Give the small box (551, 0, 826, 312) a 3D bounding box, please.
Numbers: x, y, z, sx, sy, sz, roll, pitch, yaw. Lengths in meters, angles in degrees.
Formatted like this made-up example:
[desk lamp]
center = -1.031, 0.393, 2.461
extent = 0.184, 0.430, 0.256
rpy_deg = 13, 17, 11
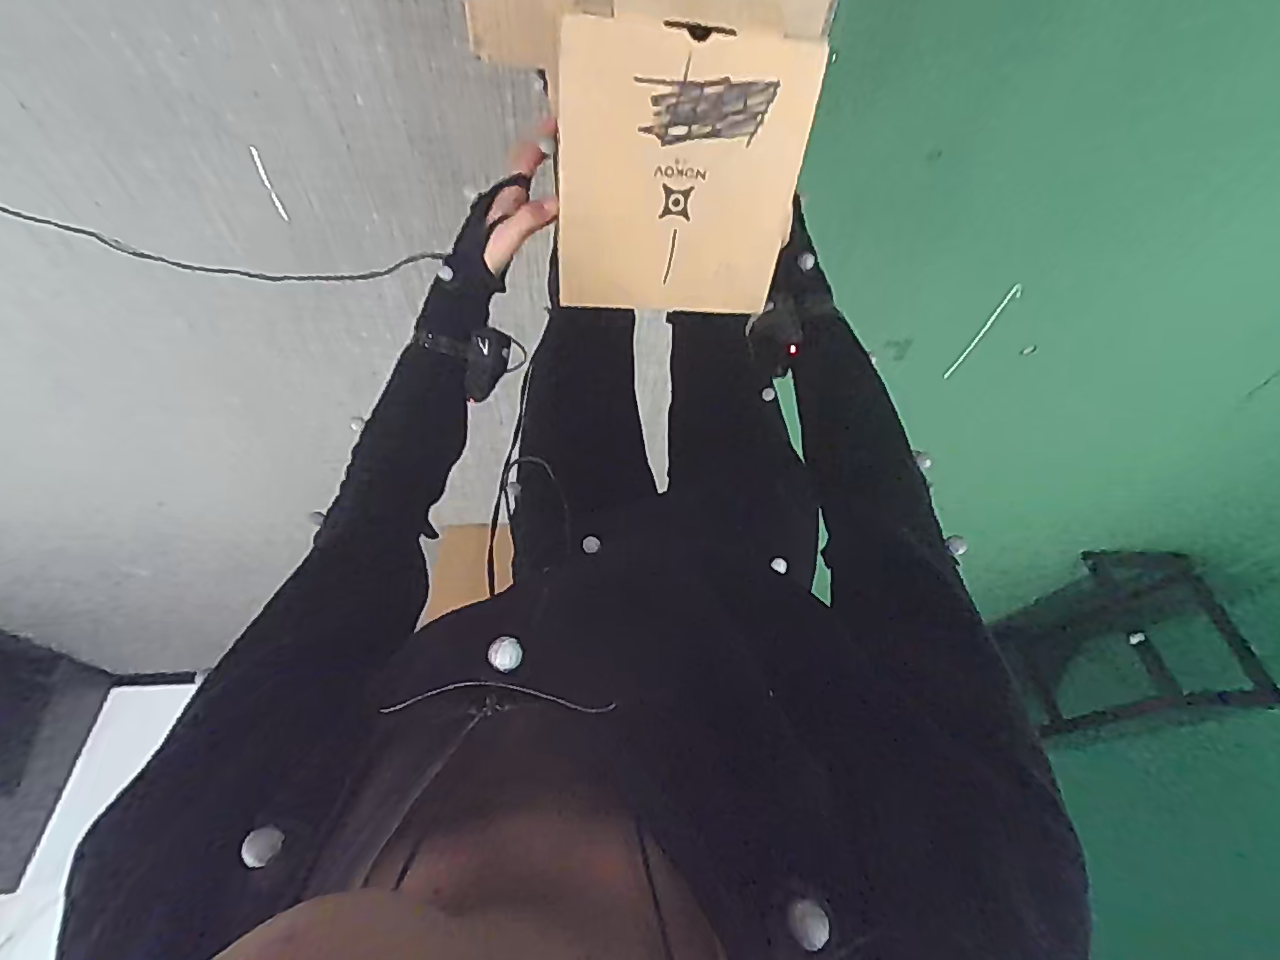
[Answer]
[small box]
center = 0.014, -0.252, 0.424
extent = 0.168, 0.176, 0.179
rpy_deg = 0, 132, -8
